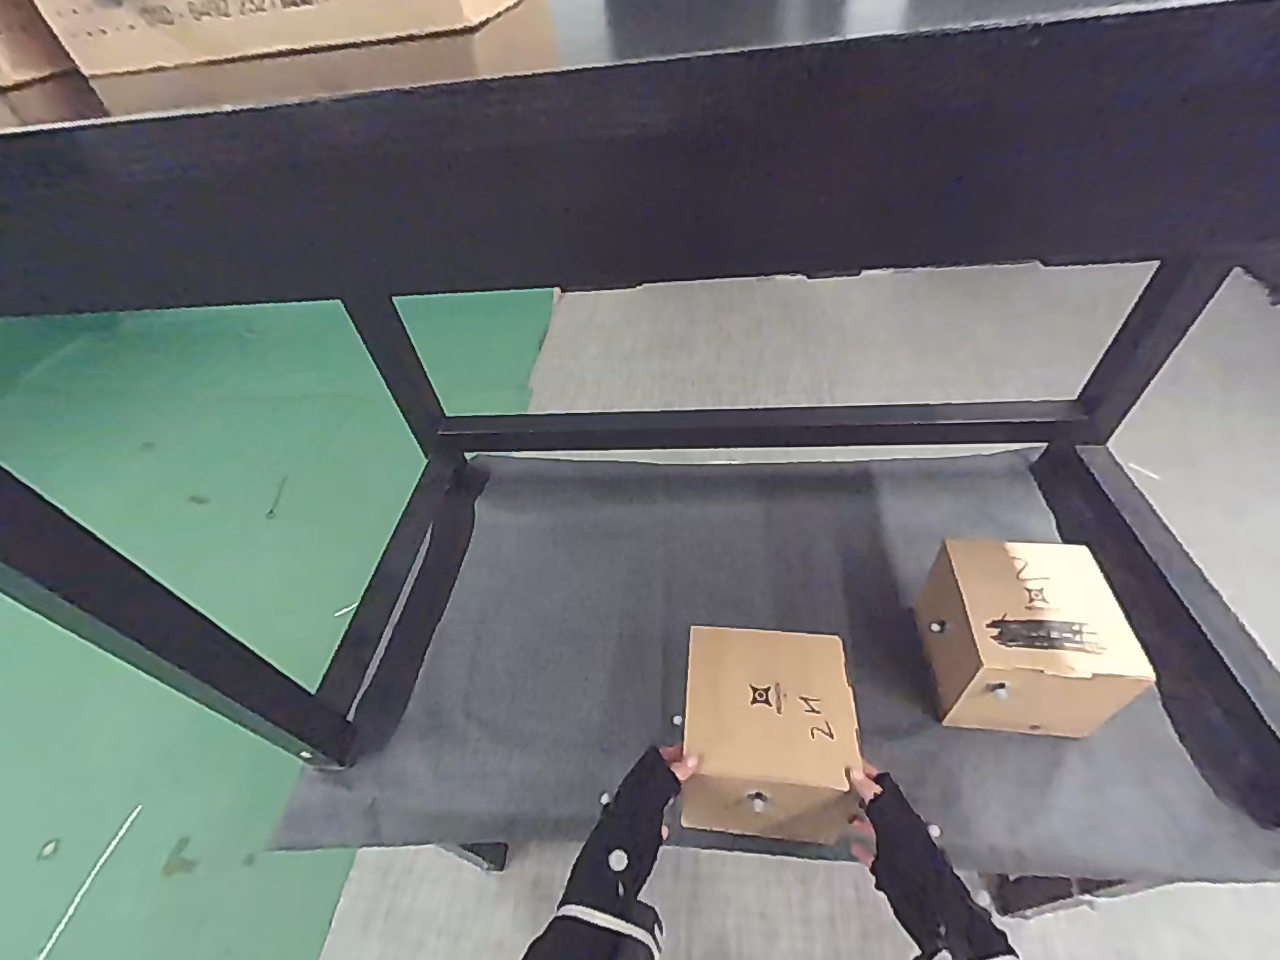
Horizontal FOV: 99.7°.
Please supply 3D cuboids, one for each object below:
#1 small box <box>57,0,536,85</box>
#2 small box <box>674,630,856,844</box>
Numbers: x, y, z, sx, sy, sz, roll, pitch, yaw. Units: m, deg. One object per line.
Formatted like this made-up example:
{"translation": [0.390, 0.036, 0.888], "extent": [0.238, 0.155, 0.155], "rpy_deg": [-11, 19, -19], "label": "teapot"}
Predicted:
{"translation": [-0.149, -0.277, 0.217], "extent": [0.168, 0.176, 0.179], "rpy_deg": [-1, 46, 6], "label": "small box"}
{"translation": [0.134, 0.297, 0.628], "extent": [0.179, 0.176, 0.168], "rpy_deg": [3, 42, 8], "label": "small box"}
